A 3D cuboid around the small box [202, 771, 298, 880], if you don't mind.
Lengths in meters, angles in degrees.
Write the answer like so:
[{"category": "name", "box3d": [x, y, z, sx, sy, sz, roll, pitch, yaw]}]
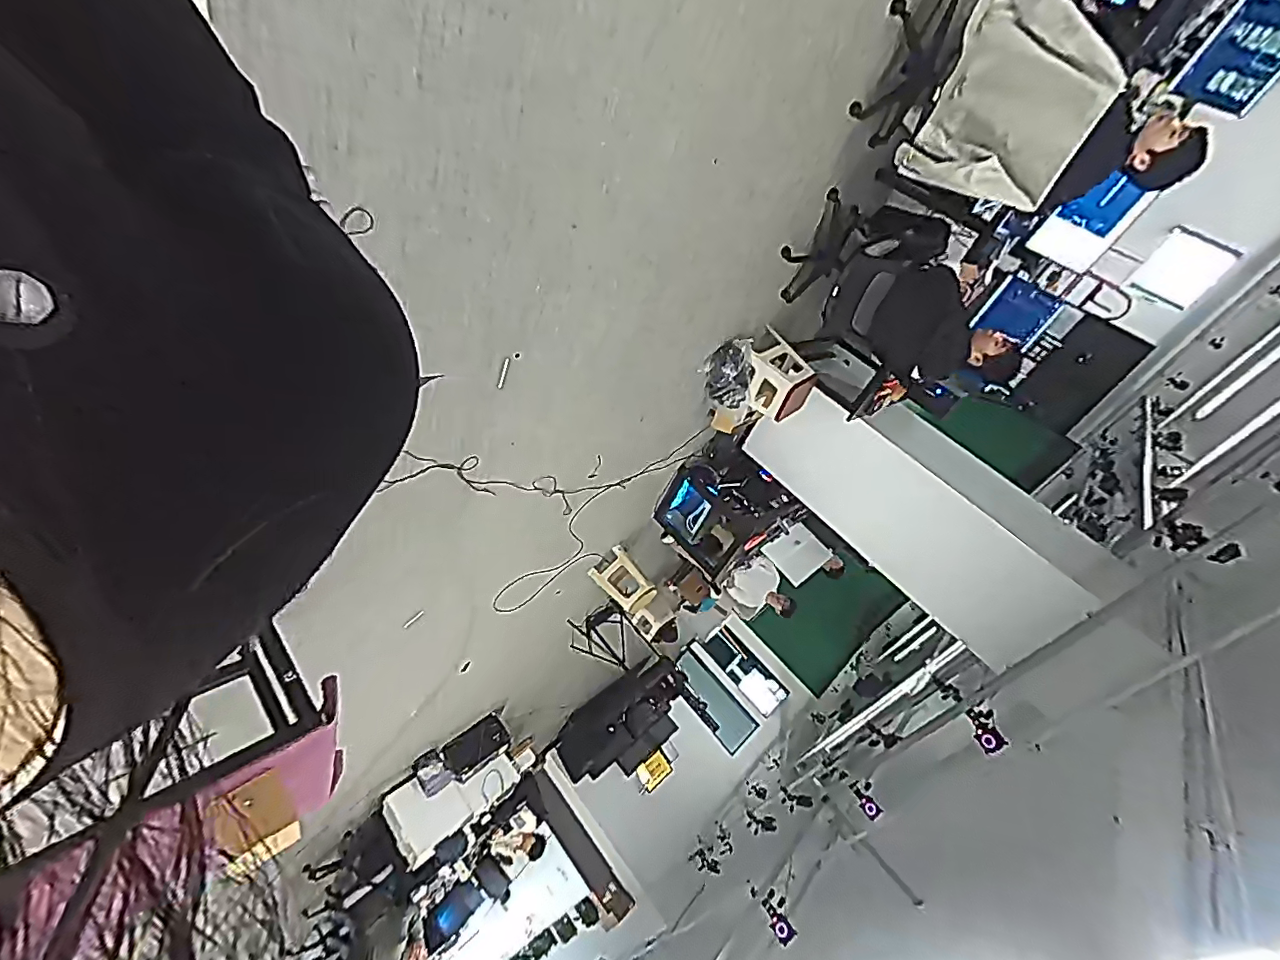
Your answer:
[{"category": "small box", "box3d": [-1.060, 0.937, 1.476, 0.168, 0.176, 0.179, -23, 149, -43]}]
